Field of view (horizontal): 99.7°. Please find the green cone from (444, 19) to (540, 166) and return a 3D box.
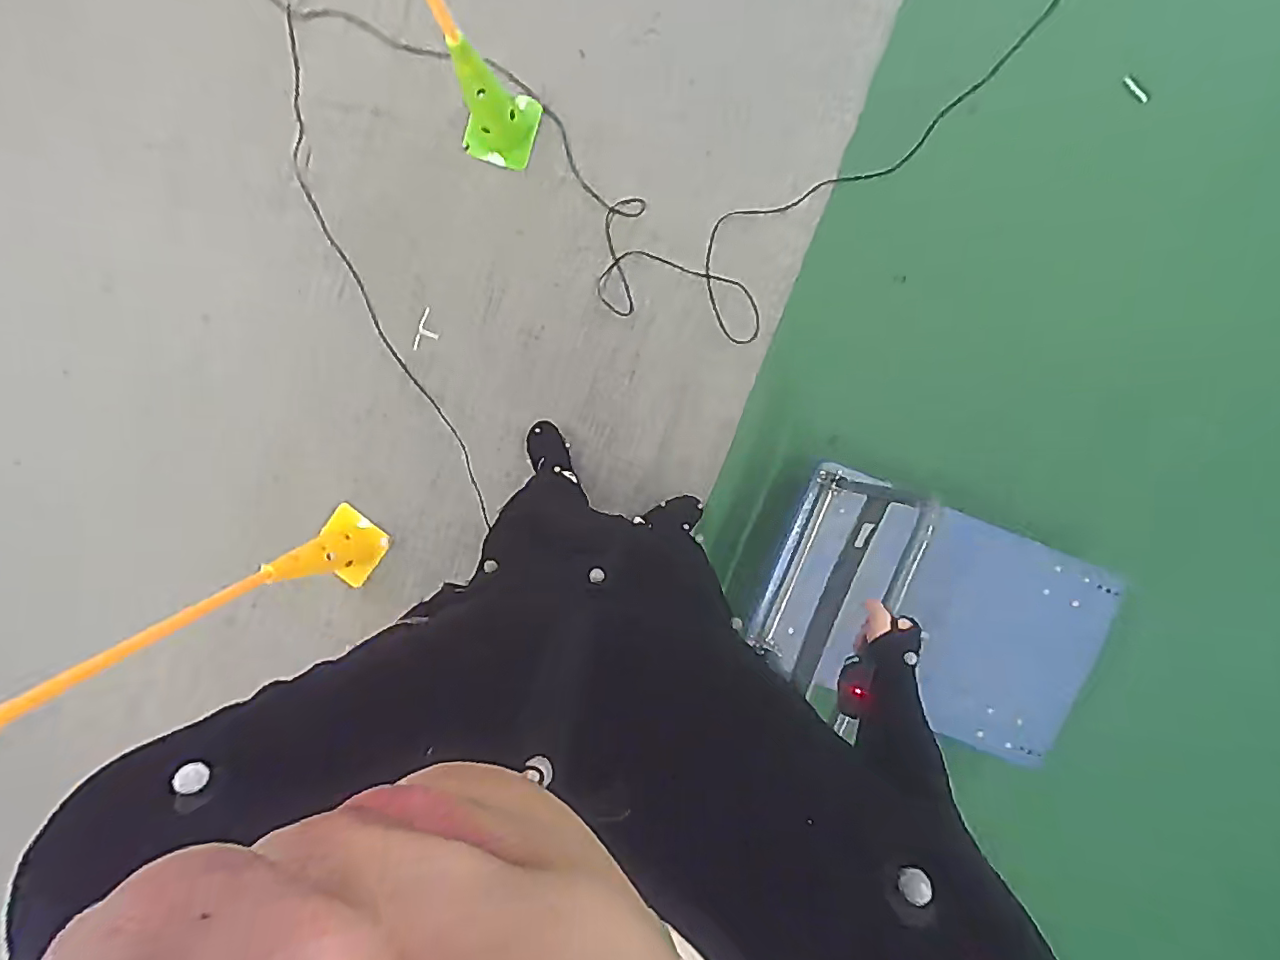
[{"bbox_3d":[-0.408,-1.010,1.380,0.200,0.368,0.202,17,93,1],"label":"green cone"}]
